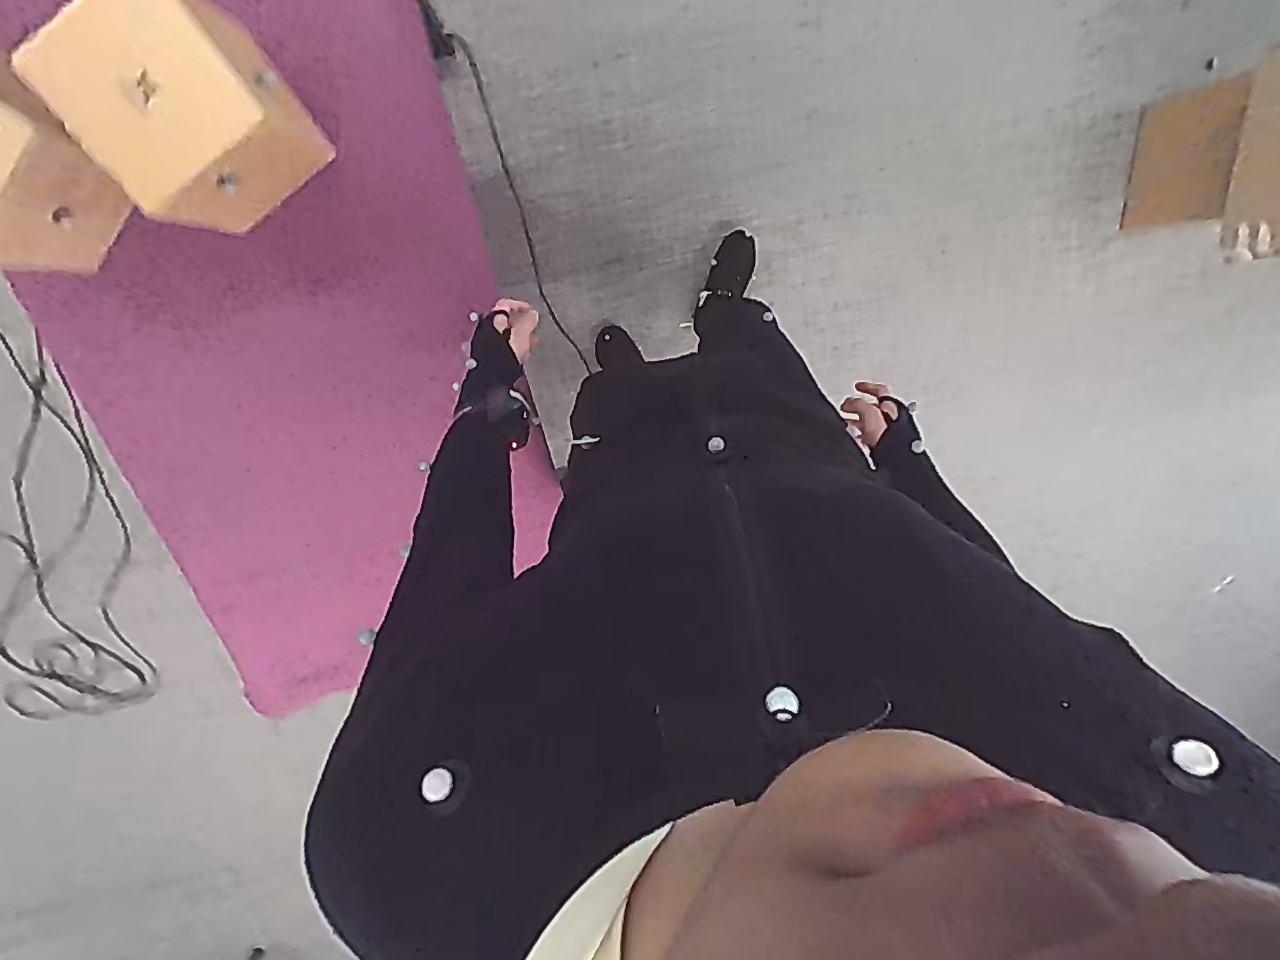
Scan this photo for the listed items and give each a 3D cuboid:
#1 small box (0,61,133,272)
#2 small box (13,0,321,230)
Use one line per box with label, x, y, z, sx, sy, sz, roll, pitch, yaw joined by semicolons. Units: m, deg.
small box;-0.734;-0.362;0.615;0.168;0.176;0.179;39;102;-15
small box;-0.506;-0.414;0.618;0.179;0.176;0.168;-33;109;8
